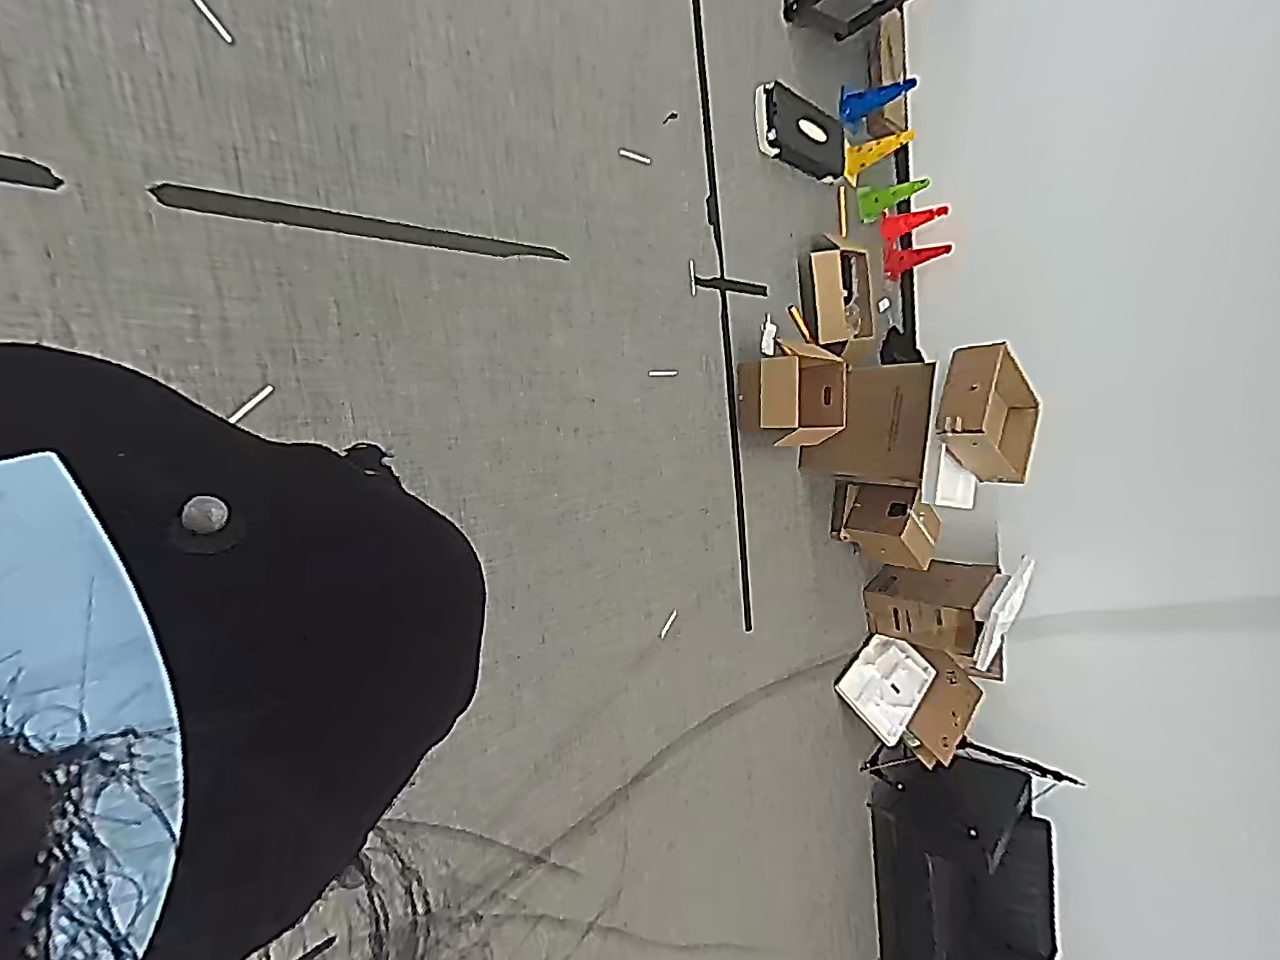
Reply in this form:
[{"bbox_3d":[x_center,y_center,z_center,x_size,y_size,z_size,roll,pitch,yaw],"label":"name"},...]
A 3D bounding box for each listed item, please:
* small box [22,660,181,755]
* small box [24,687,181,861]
[{"bbox_3d":[-1.028,0.480,1.046,0.168,0.176,0.179,-27,109,-40],"label":"small box"},{"bbox_3d":[-0.911,0.490,0.932,0.168,0.176,0.179,-11,99,-42],"label":"small box"}]
